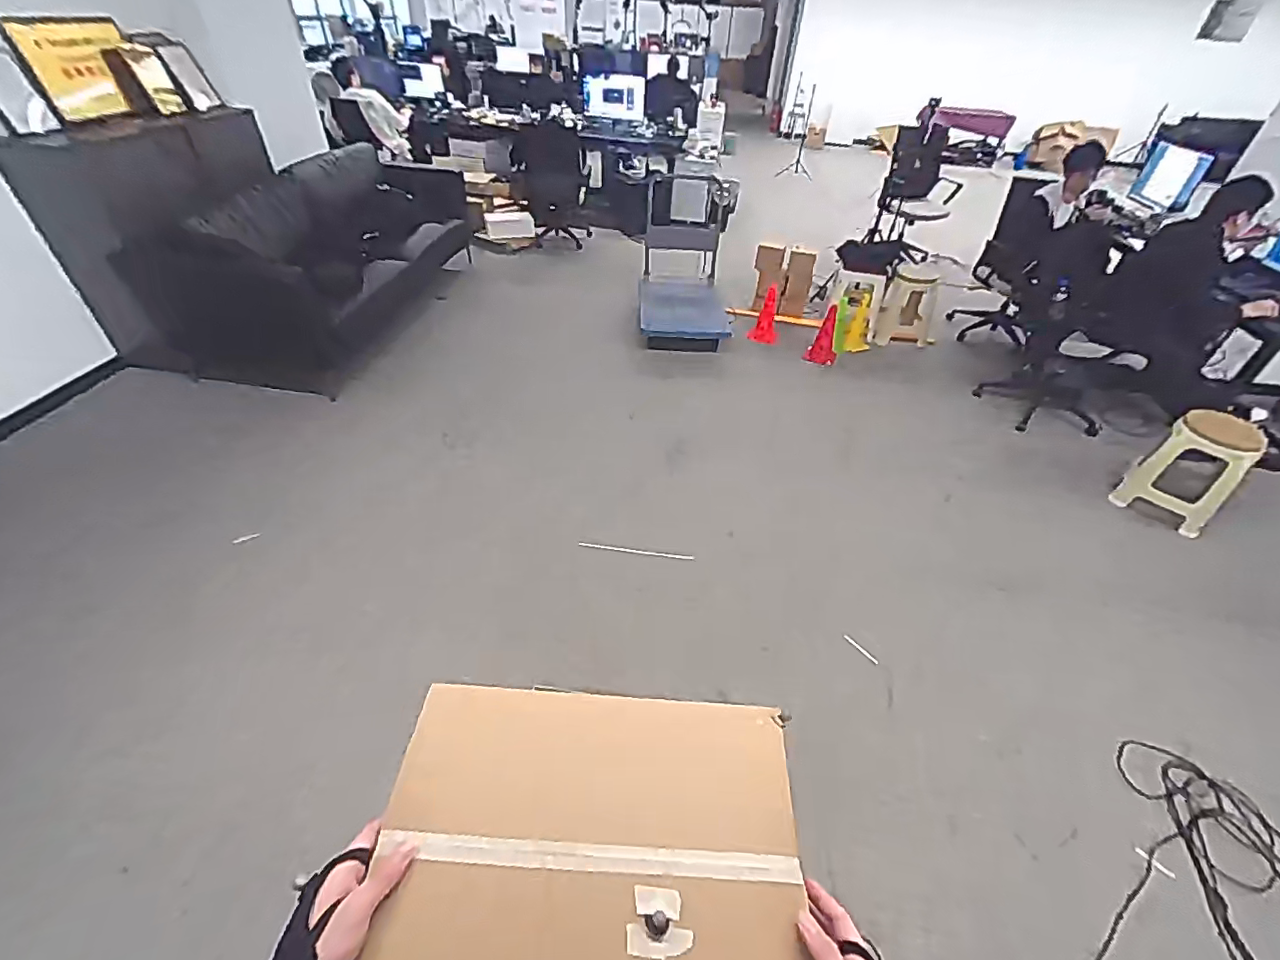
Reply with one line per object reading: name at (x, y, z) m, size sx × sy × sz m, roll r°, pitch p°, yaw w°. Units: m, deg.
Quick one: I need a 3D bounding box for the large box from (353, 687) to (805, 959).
large box at (-0.056, 0.469, 0.634) m, size 0.408 × 0.320 × 0.320 m, roll 4°, pitch 45°, yaw 0°
